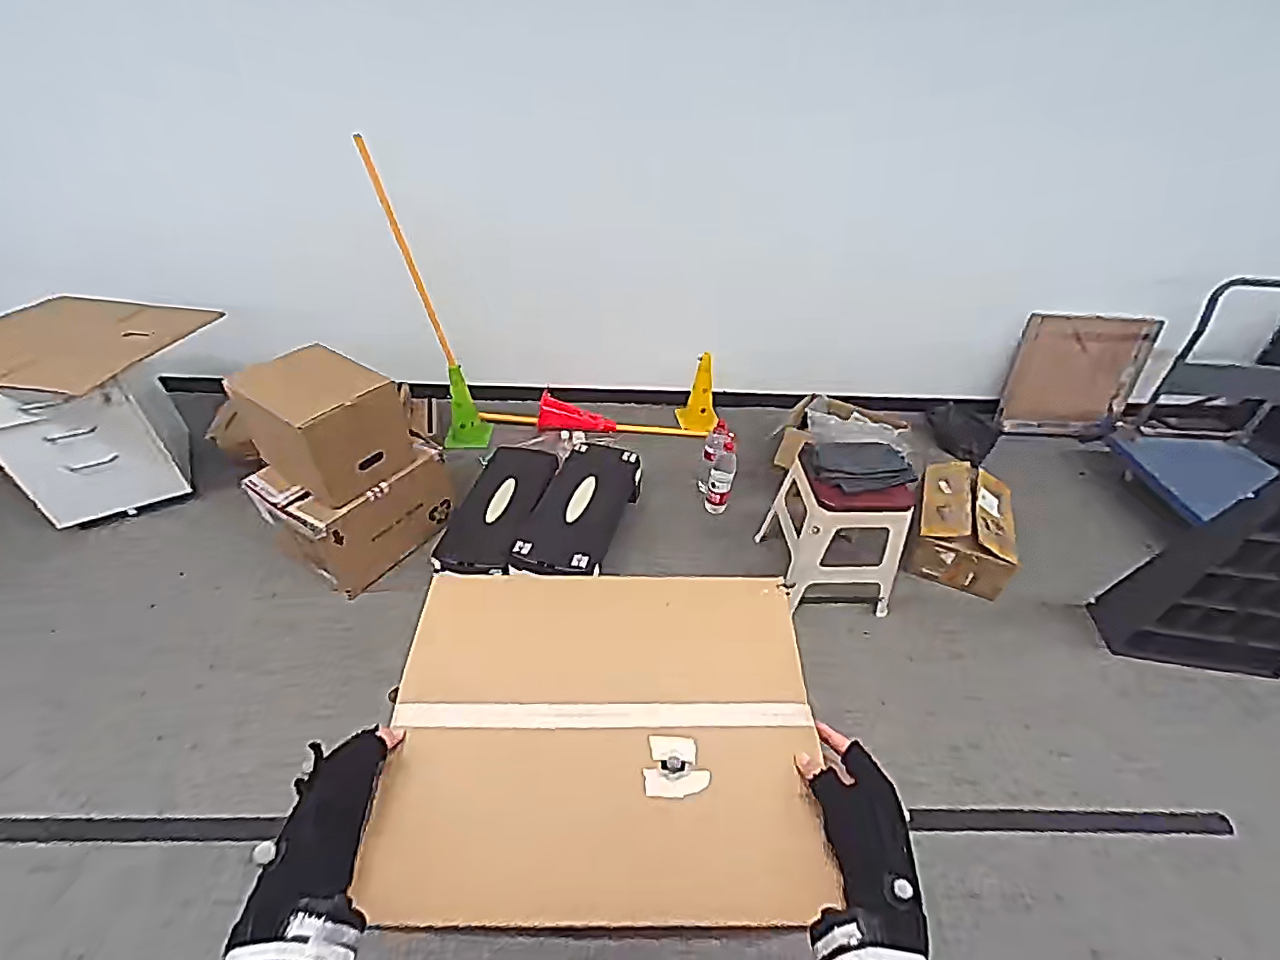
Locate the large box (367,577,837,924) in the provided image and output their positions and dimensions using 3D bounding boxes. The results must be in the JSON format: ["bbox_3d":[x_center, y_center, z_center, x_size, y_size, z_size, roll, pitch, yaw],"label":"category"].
[{"bbox_3d":[-0.036,0.331,0.658,0.408,0.320,0.320,1,49,-1],"label":"large box"}]
